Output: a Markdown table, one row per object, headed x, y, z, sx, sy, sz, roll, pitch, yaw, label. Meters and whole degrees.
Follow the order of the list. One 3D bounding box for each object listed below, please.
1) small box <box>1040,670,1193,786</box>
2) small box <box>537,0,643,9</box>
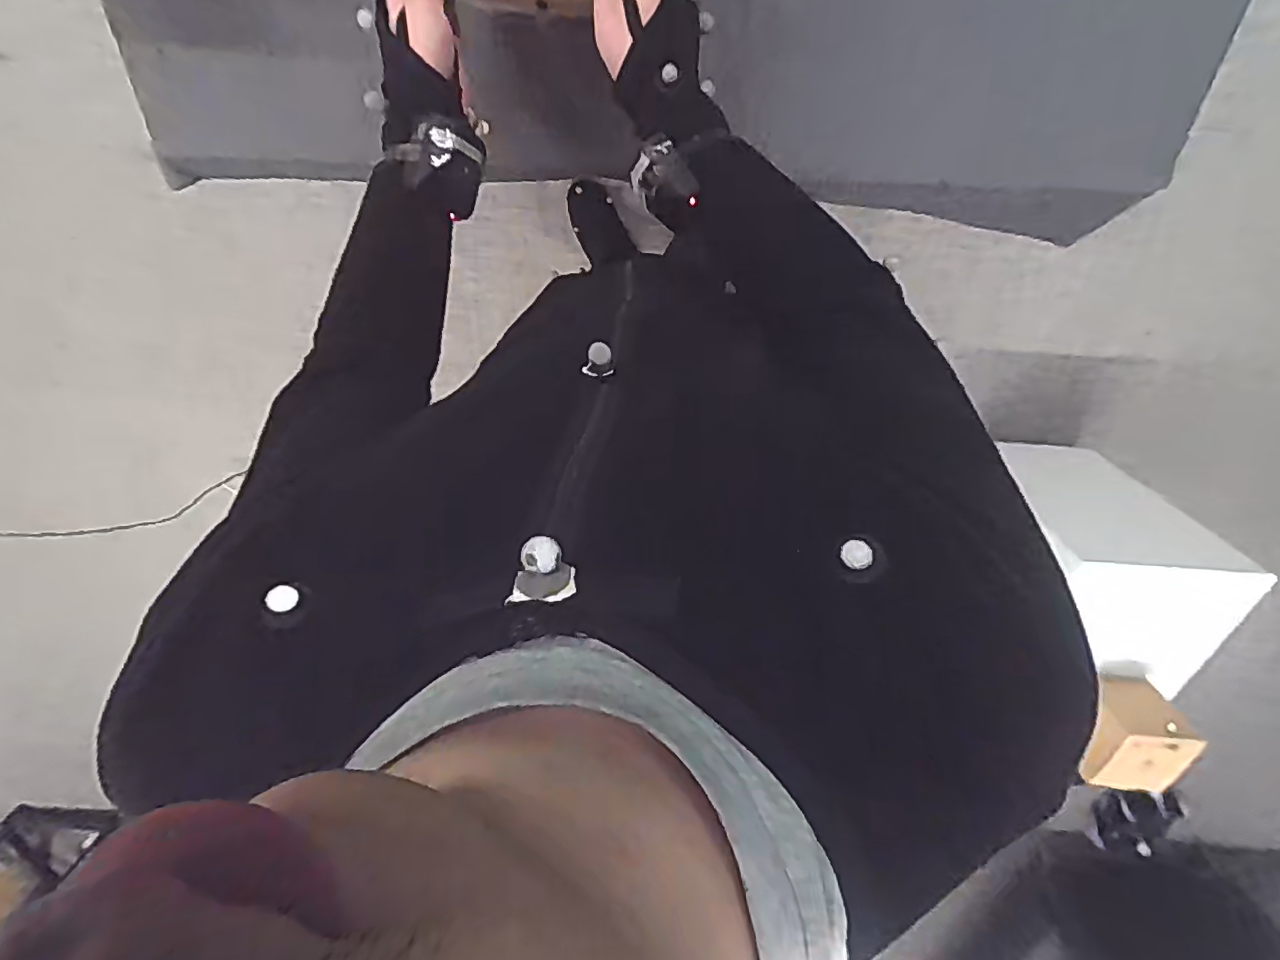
| x | y | z | sx | sy | sz | roll | pitch | yaw | label |
| --- | --- | --- | --- | --- | --- | --- | --- | --- | --- |
| 1.064 | 0.562 | 1.231 | 0.168 | 0.176 | 0.179 | 5 | 120 | -2 | small box |
| -0.069 | -0.501 | 0.432 | 0.179 | 0.176 | 0.168 | 4 | 124 | -2 | small box |
